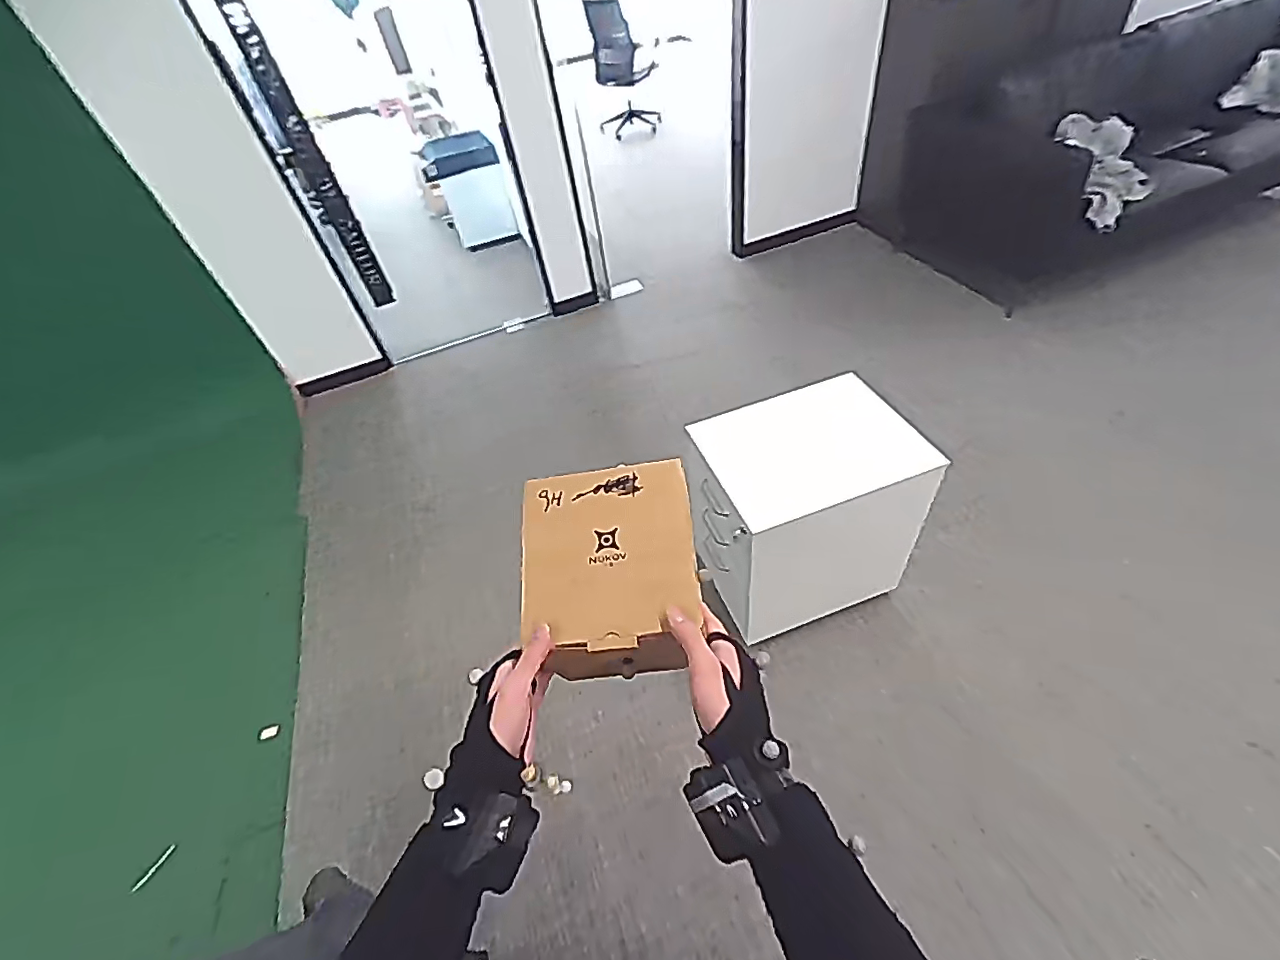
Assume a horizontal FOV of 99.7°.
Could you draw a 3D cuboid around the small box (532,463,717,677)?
[{"bbox_3d":[-0.012,0.108,0.589,0.168,0.176,0.179,-10,60,4],"label":"small box"}]
